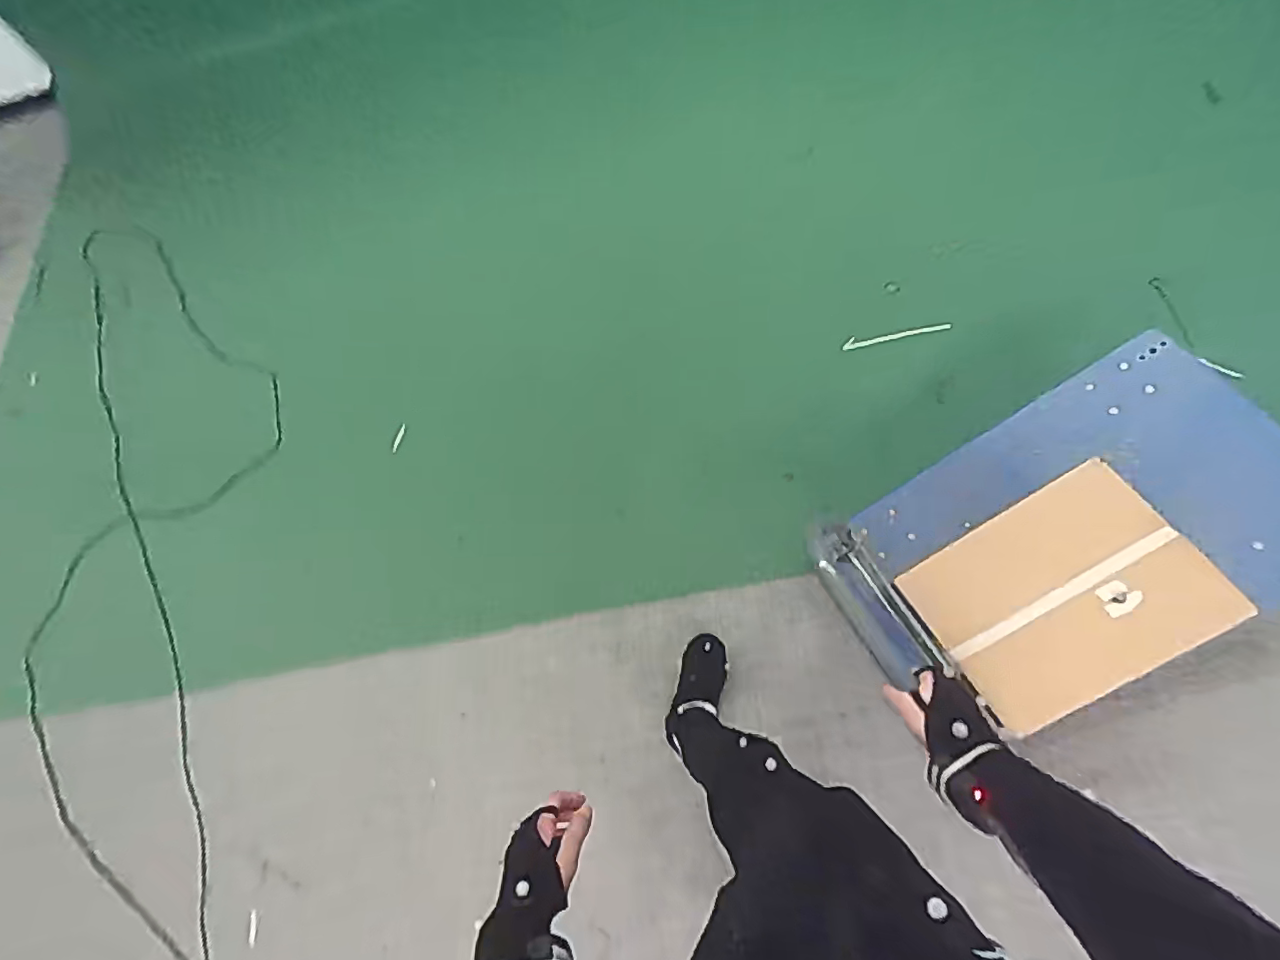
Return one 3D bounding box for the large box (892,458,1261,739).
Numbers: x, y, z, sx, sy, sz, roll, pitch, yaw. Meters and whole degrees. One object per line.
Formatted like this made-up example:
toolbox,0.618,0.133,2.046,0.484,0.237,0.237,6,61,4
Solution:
large box,0.763,0.228,1.040,0.408,0.320,0.320,-36,68,10
